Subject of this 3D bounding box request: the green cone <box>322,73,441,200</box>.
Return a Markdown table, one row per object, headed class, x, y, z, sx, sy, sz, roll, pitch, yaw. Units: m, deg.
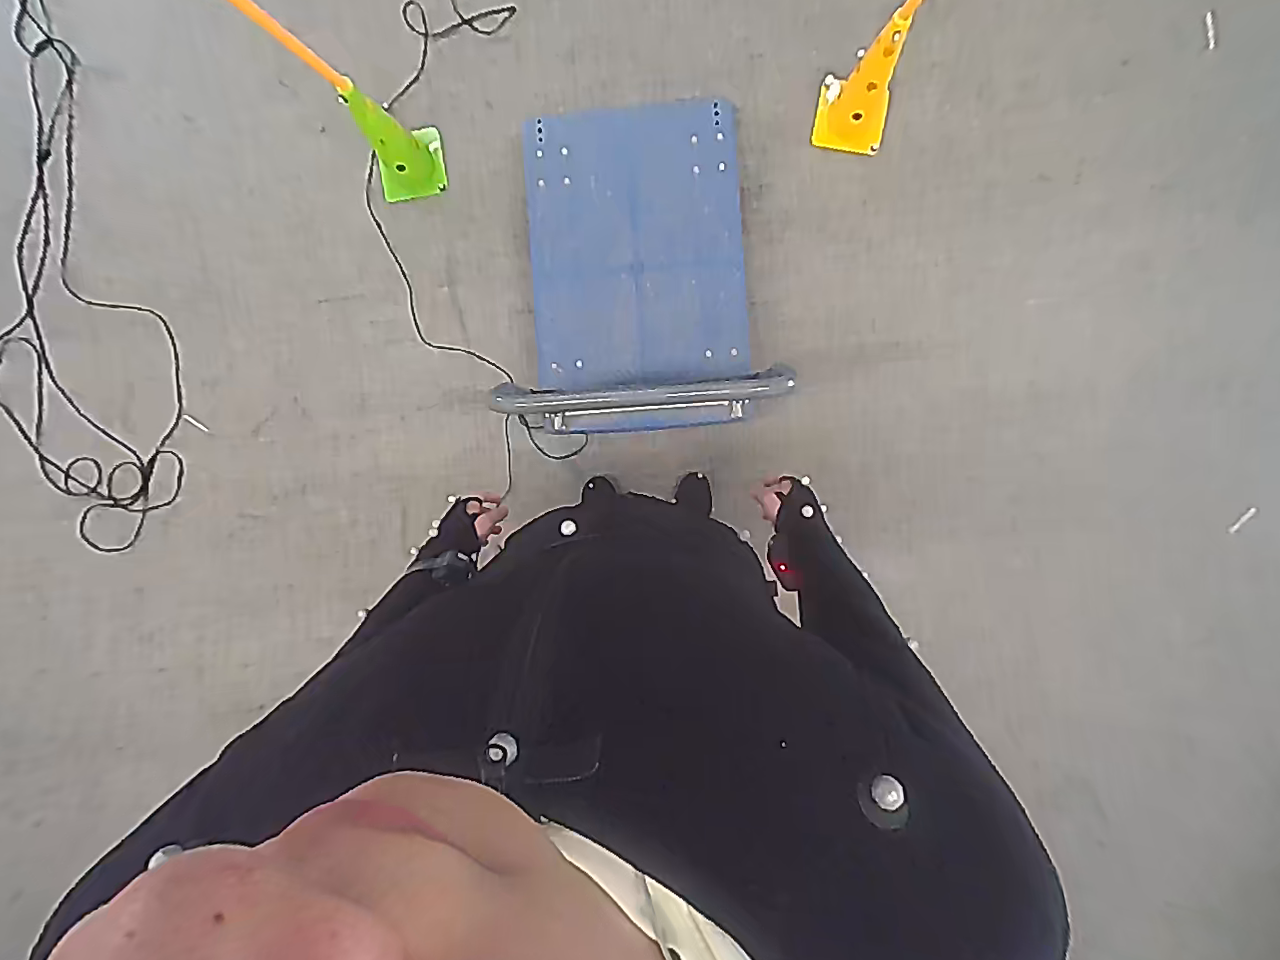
| class | x | y | z | sx | sy | sz | roll | pitch | yaw |
| --- | --- | --- | --- | --- | --- | --- | --- | --- | --- |
| green cone | -0.723 | -0.963 | 1.468 | 0.202 | 0.368 | 0.200 | -10 | 90 | 4 |
